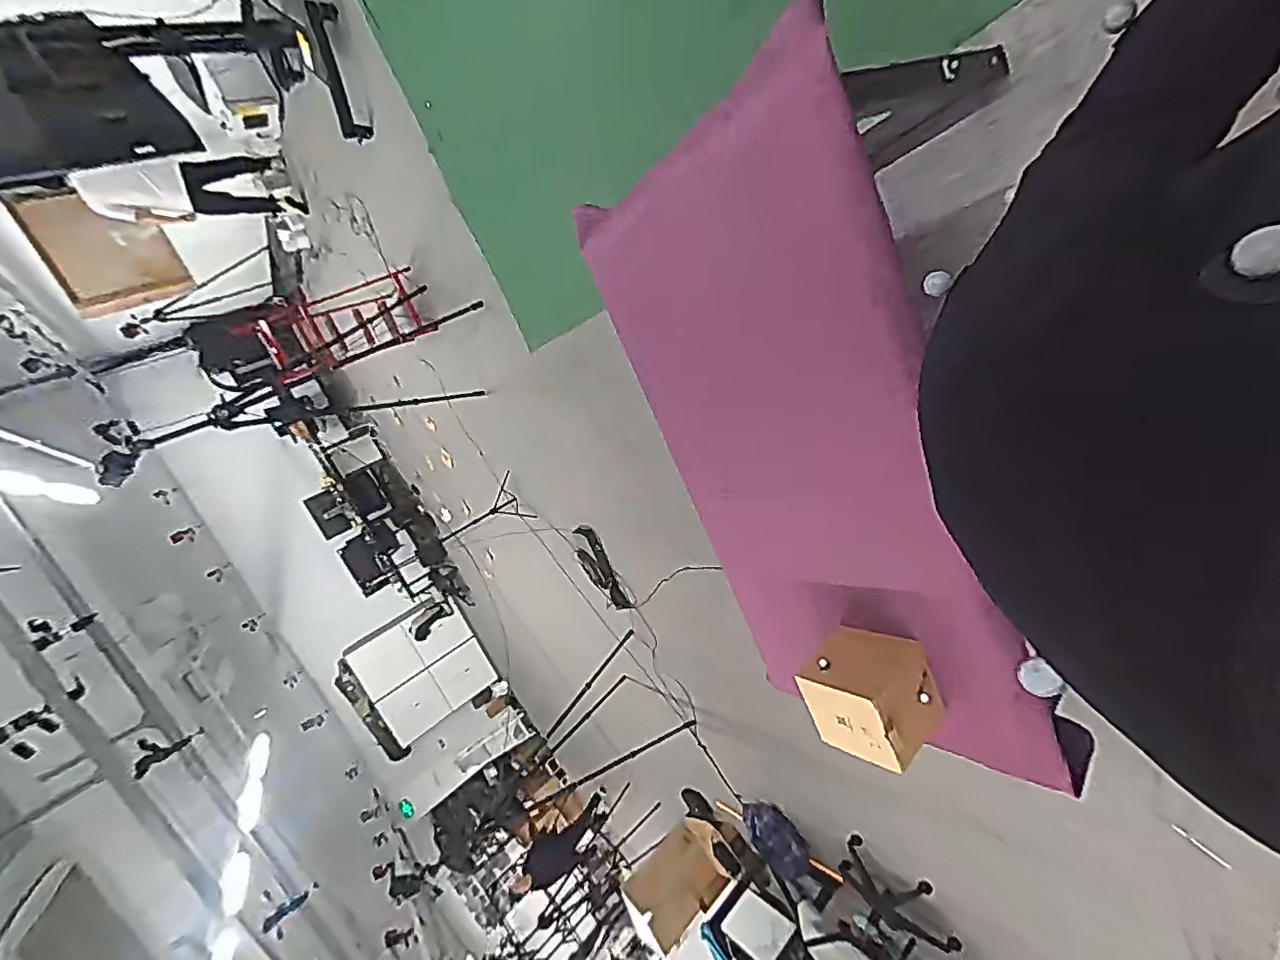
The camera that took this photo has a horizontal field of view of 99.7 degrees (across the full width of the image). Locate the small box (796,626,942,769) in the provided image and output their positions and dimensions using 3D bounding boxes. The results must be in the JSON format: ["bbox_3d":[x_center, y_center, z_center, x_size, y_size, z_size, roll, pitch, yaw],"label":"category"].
[{"bbox_3d":[0.441,0.404,1.042,0.179,0.176,0.168,-6,112,57],"label":"small box"}]
